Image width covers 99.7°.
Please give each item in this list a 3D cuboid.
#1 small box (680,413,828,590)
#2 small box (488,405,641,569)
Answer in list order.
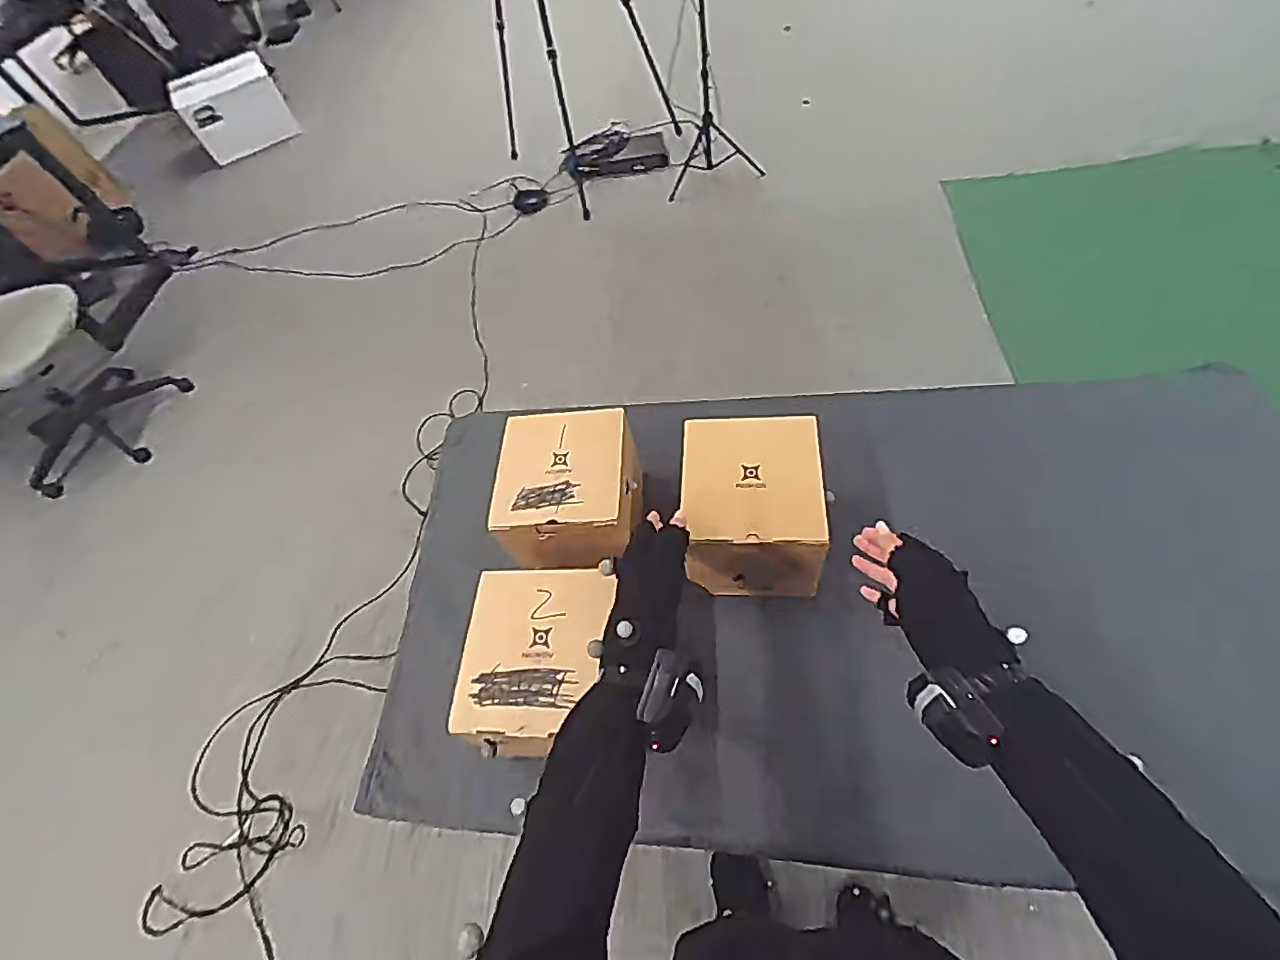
[{"bbox_3d":[0.143,0.032,0.711,0.168,0.176,0.179,-1,60,10],"label":"small box"},{"bbox_3d":[-0.092,0.019,0.760,0.168,0.176,0.179,-3,58,8],"label":"small box"}]
